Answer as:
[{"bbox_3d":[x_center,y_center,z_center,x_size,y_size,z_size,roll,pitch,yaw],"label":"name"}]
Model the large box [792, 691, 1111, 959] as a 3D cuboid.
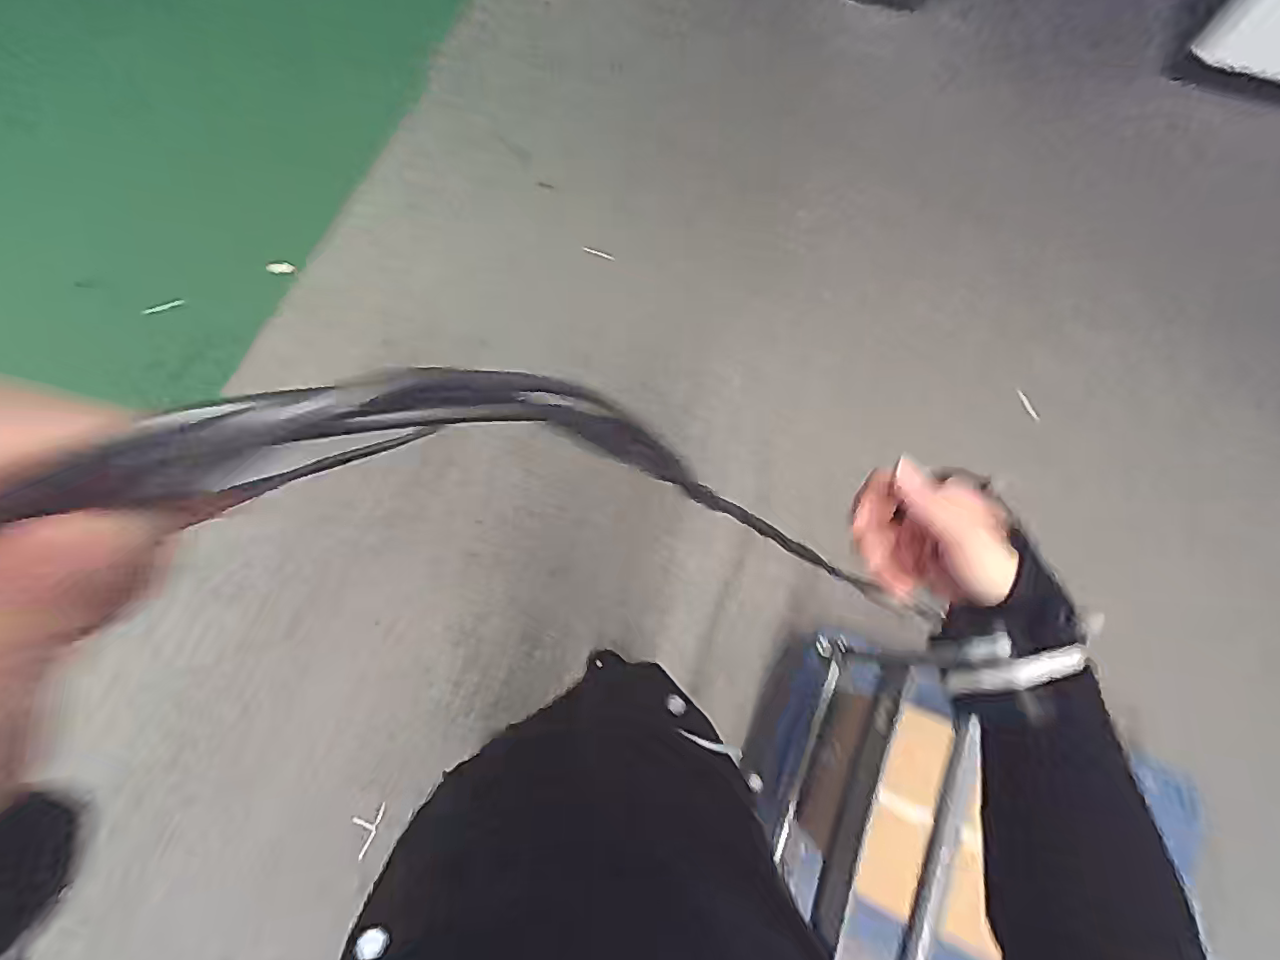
[{"bbox_3d":[0.564,0.644,1.045,0.408,0.320,0.320,23,75,6],"label":"large box"}]
